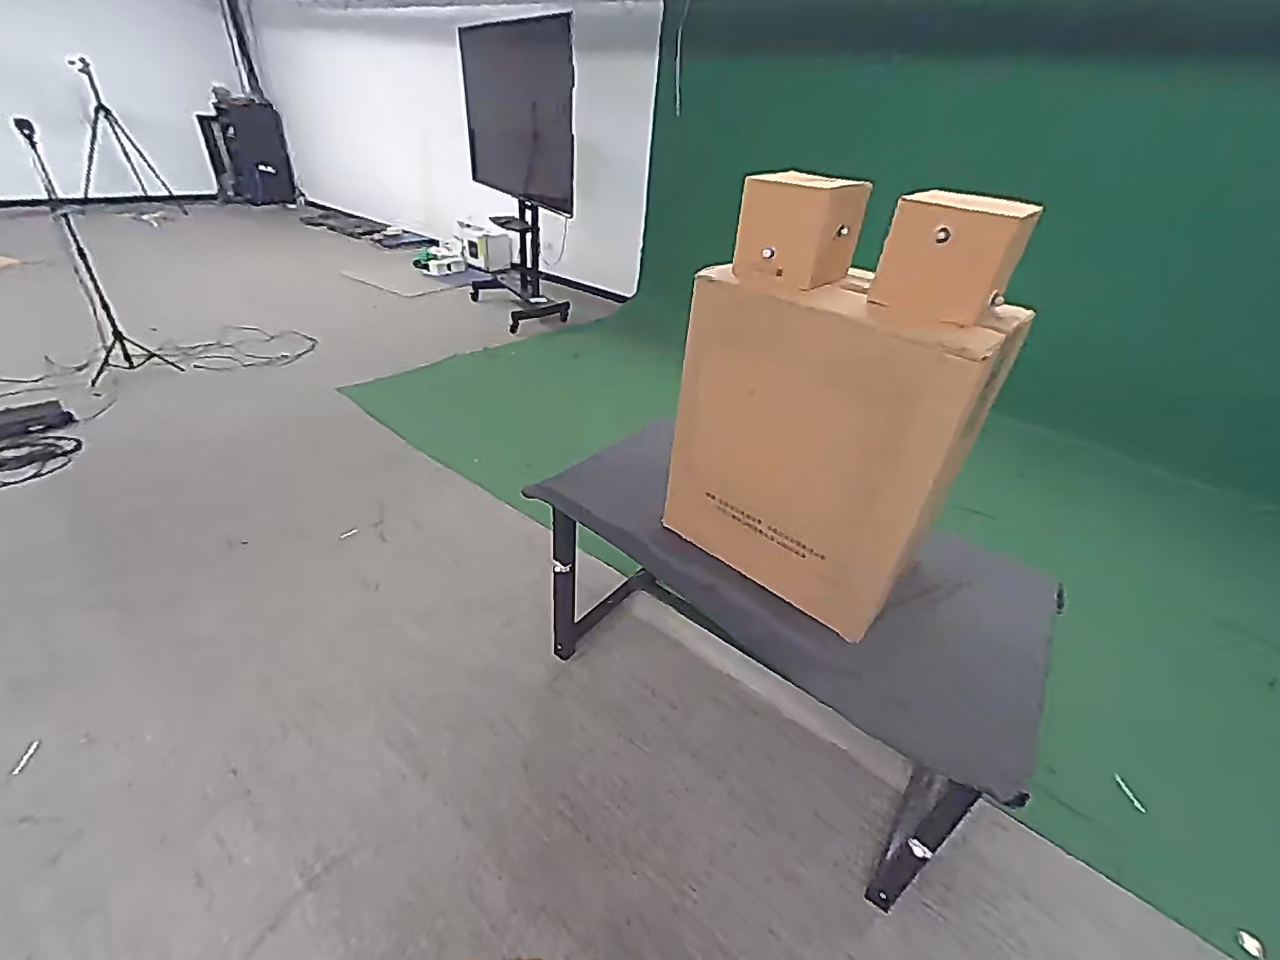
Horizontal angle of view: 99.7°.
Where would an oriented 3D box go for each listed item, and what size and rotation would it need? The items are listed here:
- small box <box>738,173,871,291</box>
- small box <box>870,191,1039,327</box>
[{"bbox_3d":[0.304,-0.474,1.028,0.168,0.176,0.179,29,43,32],"label":"small box"},{"bbox_3d":[0.519,-0.373,0.909,0.179,0.176,0.168,31,44,29],"label":"small box"}]
